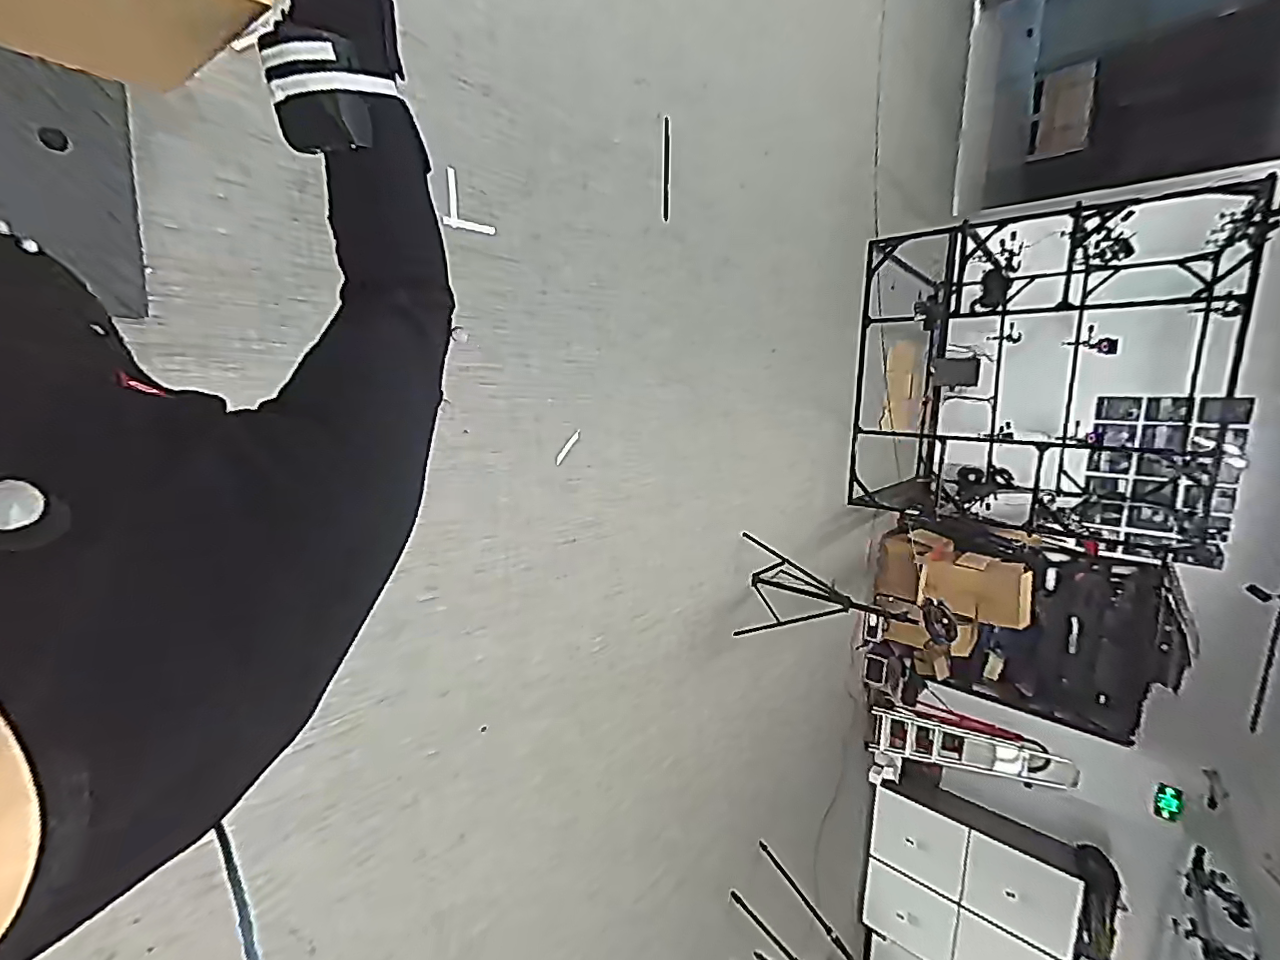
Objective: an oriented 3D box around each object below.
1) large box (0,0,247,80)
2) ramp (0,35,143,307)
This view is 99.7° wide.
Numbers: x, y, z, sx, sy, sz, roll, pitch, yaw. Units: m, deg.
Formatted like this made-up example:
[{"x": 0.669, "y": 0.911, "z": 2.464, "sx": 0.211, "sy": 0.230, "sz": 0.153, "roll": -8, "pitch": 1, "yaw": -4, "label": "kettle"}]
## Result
[{"x": -0.457, "y": -0.456, "z": 0.239, "sx": 0.408, "sy": 0.320, "sz": 0.320, "roll": -12, "pitch": 115, "yaw": -48, "label": "large box"}, {"x": -1.091, "y": -0.791, "z": 0.780, "sx": 0.509, "sy": 0.206, "sz": 0.991, "roll": -13, "pitch": 107, "yaw": -49, "label": "ramp"}]
